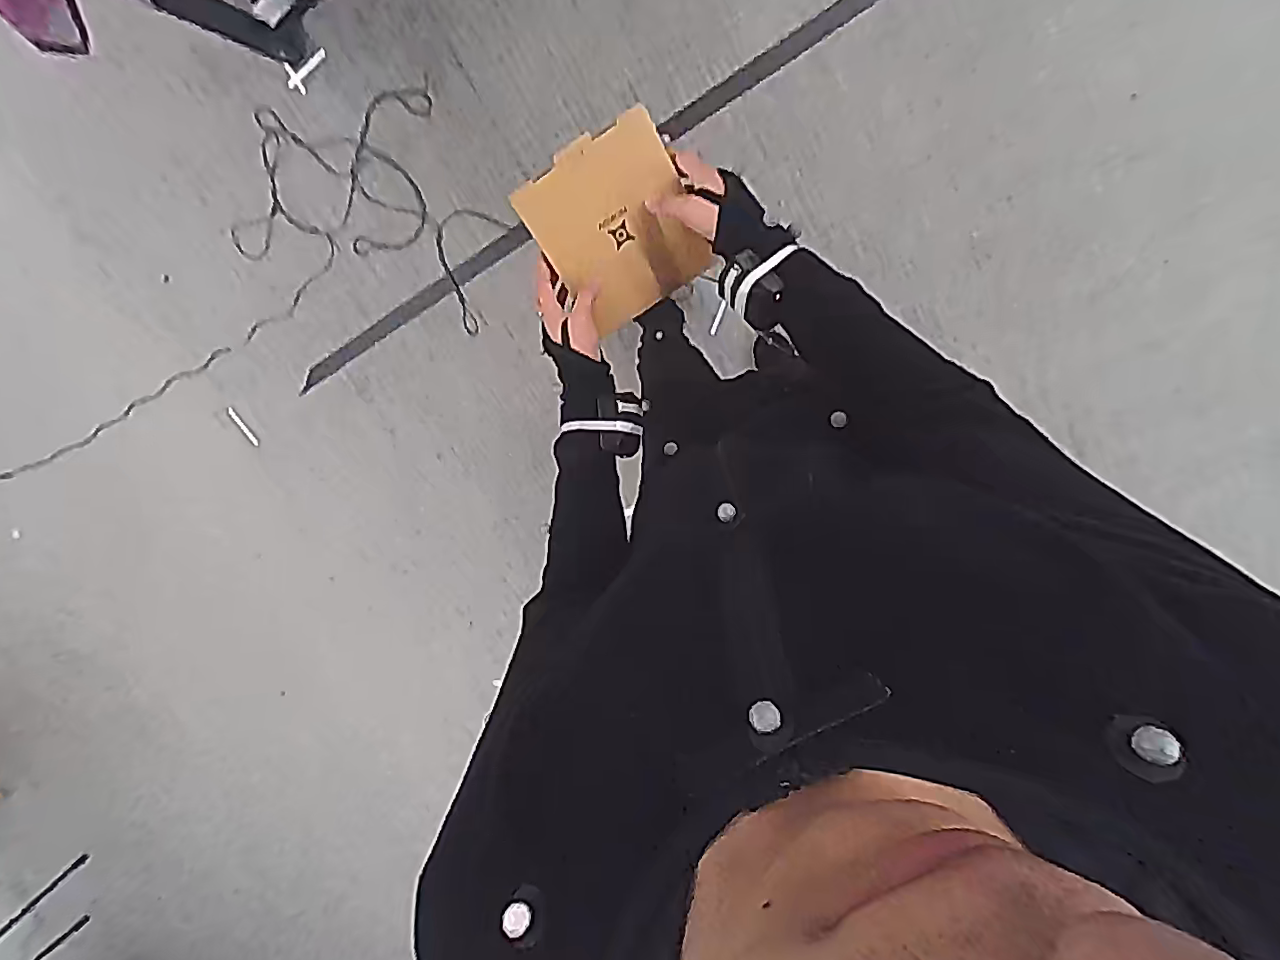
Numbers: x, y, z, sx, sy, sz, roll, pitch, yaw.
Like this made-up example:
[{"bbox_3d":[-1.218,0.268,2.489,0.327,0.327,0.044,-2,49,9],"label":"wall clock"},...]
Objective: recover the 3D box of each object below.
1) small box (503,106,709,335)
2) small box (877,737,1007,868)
[{"bbox_3d":[-0.039,-0.307,0.658,0.168,0.176,0.179,-31,114,8],"label":"small box"},{"bbox_3d":[0.637,0.682,1.156,0.179,0.176,0.168,-22,107,17],"label":"small box"}]
